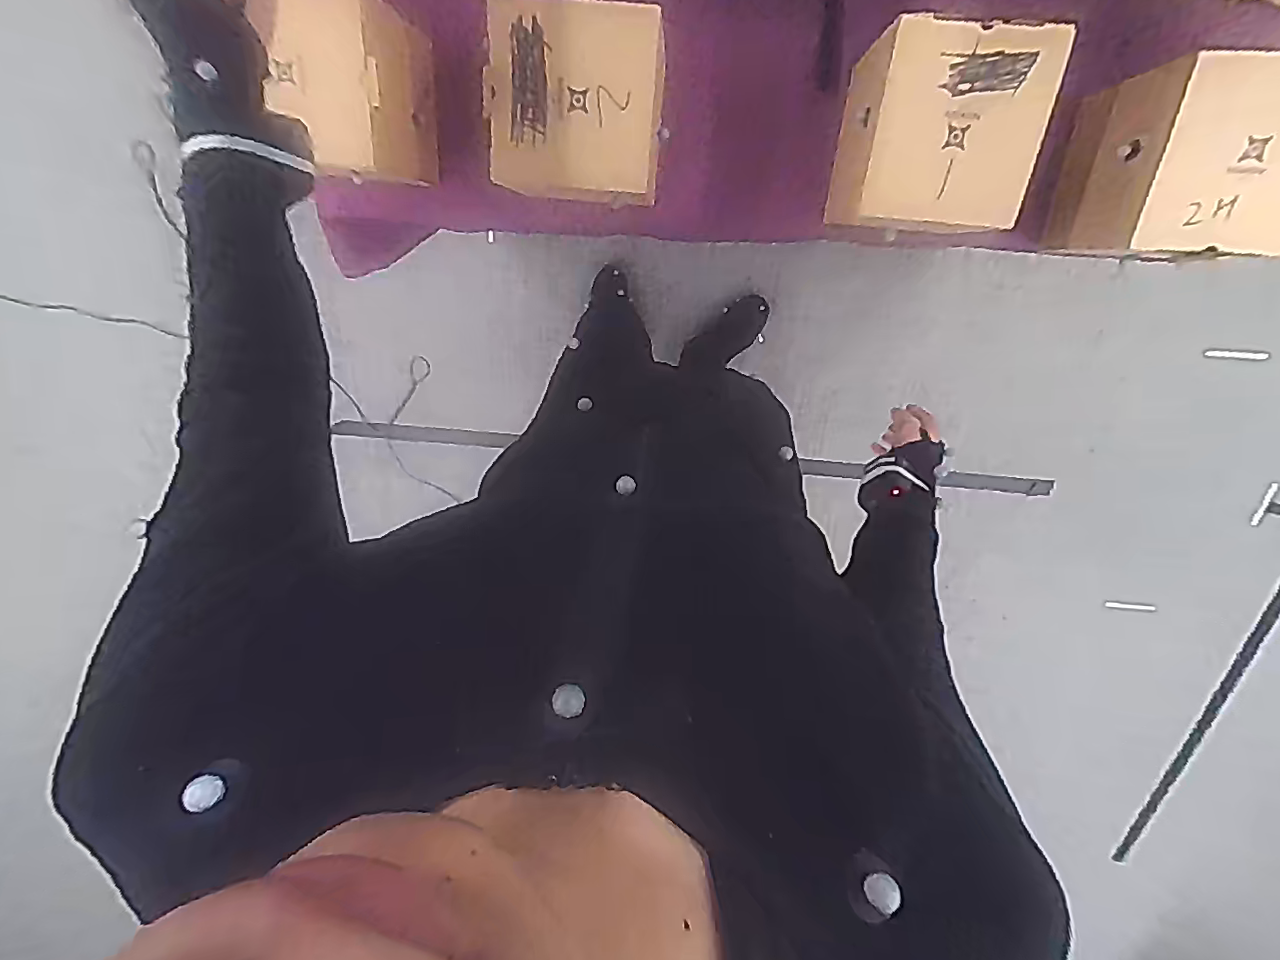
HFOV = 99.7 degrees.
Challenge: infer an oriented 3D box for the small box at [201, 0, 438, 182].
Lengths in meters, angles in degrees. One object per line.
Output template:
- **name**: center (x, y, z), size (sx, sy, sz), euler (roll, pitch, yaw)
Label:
- **small box**: center (-0.363, -0.462, 0.645), size (0.179, 0.176, 0.168), euler (6, 113, 1)
